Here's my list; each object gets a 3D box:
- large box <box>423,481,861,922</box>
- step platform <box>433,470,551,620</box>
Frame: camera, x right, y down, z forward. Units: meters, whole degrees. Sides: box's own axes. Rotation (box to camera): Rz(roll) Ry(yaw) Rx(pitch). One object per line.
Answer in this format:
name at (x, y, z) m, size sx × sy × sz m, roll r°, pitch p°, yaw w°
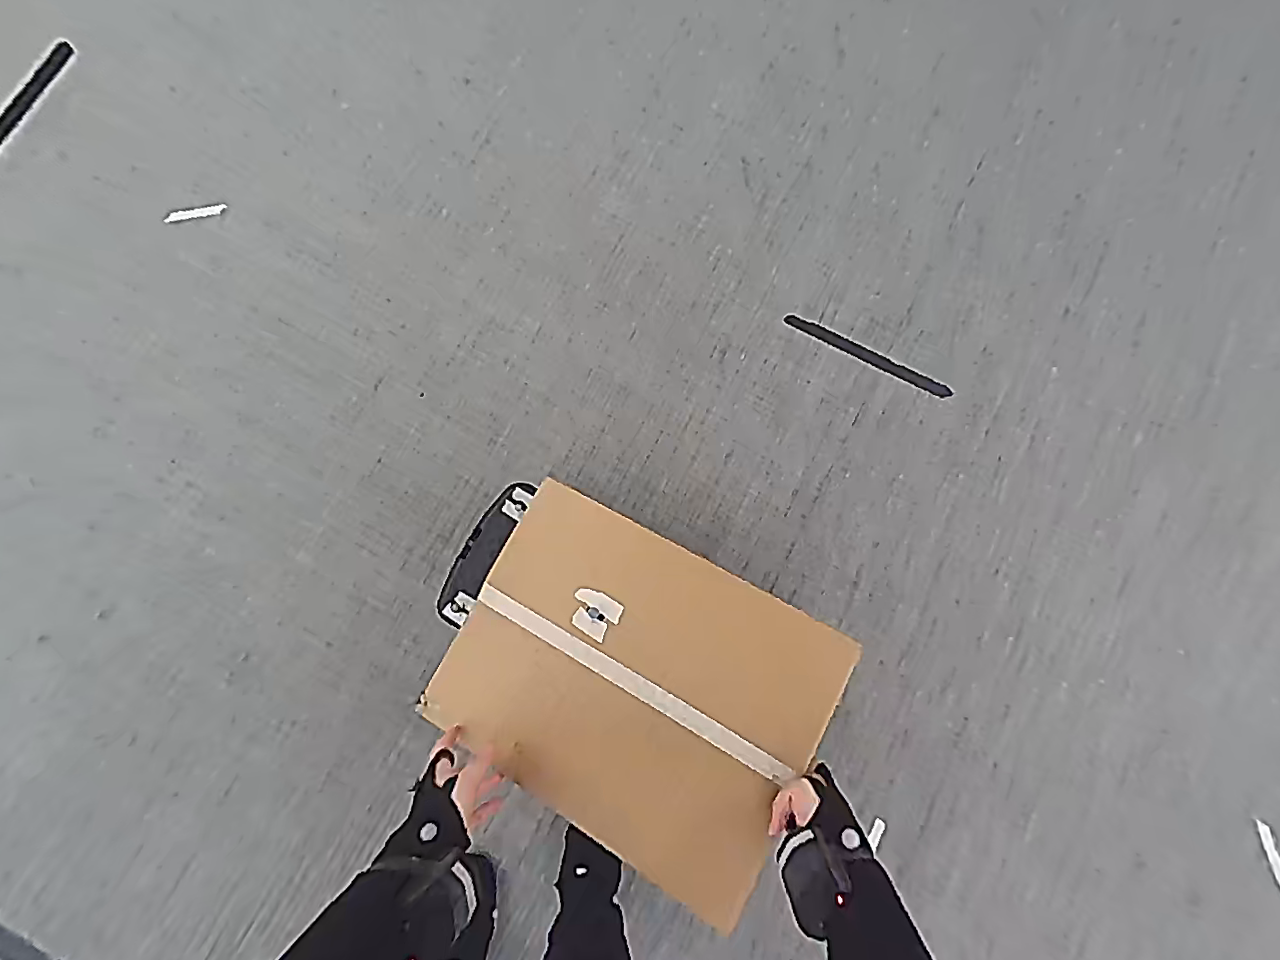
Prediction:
large box at (0.017, 0.248, 0.731) m, size 0.408 × 0.320 × 0.320 m, roll 27°, pitch 82°, yaw 15°
step platform at (-0.031, 0.272, 1.000) m, size 0.684 × 0.204 × 0.286 m, roll 34°, pitch 84°, yaw 6°
